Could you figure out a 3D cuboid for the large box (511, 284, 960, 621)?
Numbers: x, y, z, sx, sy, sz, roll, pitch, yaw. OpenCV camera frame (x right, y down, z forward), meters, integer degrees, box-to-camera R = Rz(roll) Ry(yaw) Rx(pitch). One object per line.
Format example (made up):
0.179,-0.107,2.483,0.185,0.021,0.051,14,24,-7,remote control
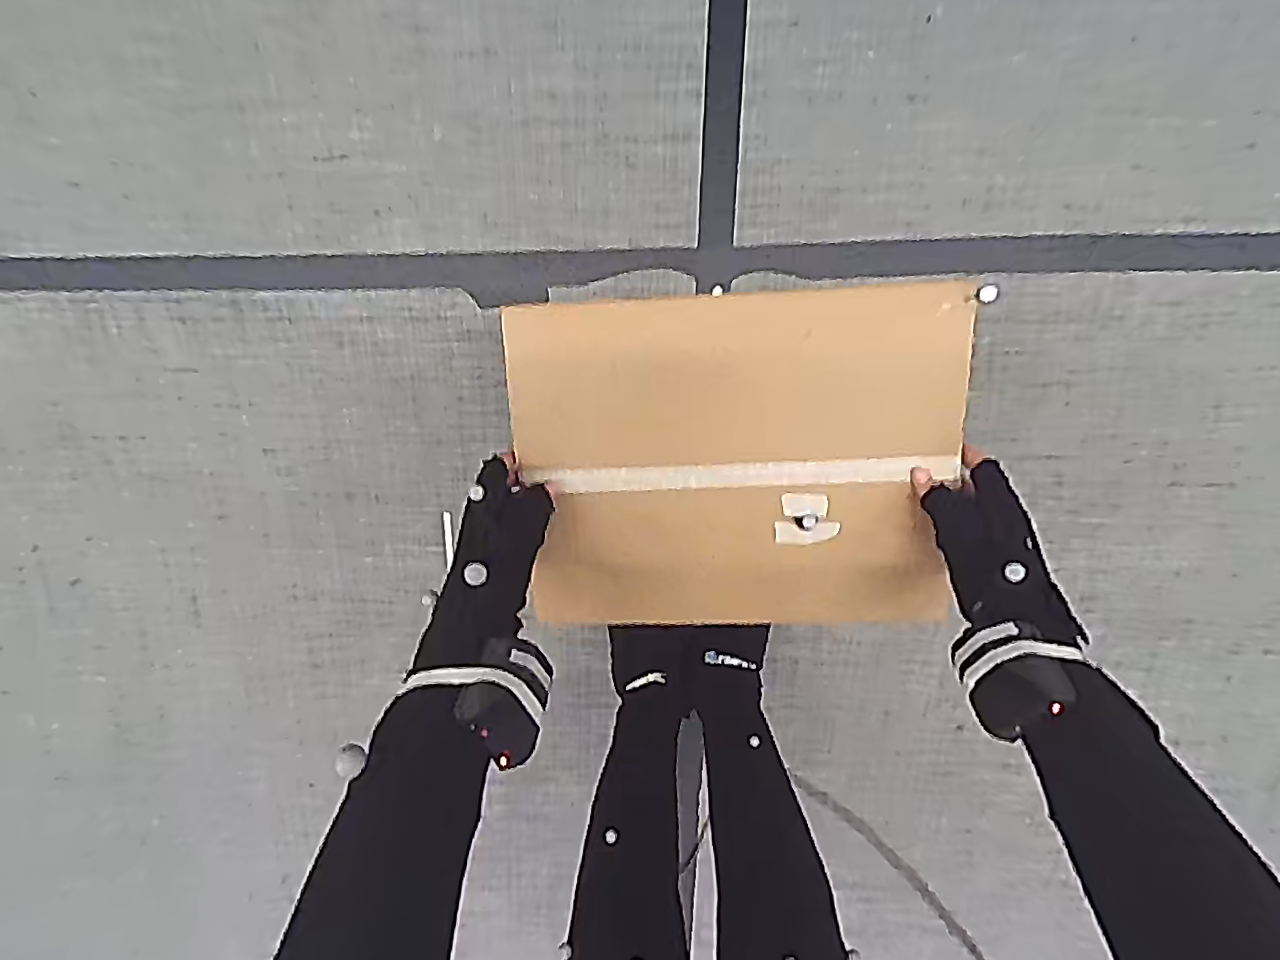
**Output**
0.095,-0.047,0.658,0.408,0.320,0.320,-2,105,4,large box
